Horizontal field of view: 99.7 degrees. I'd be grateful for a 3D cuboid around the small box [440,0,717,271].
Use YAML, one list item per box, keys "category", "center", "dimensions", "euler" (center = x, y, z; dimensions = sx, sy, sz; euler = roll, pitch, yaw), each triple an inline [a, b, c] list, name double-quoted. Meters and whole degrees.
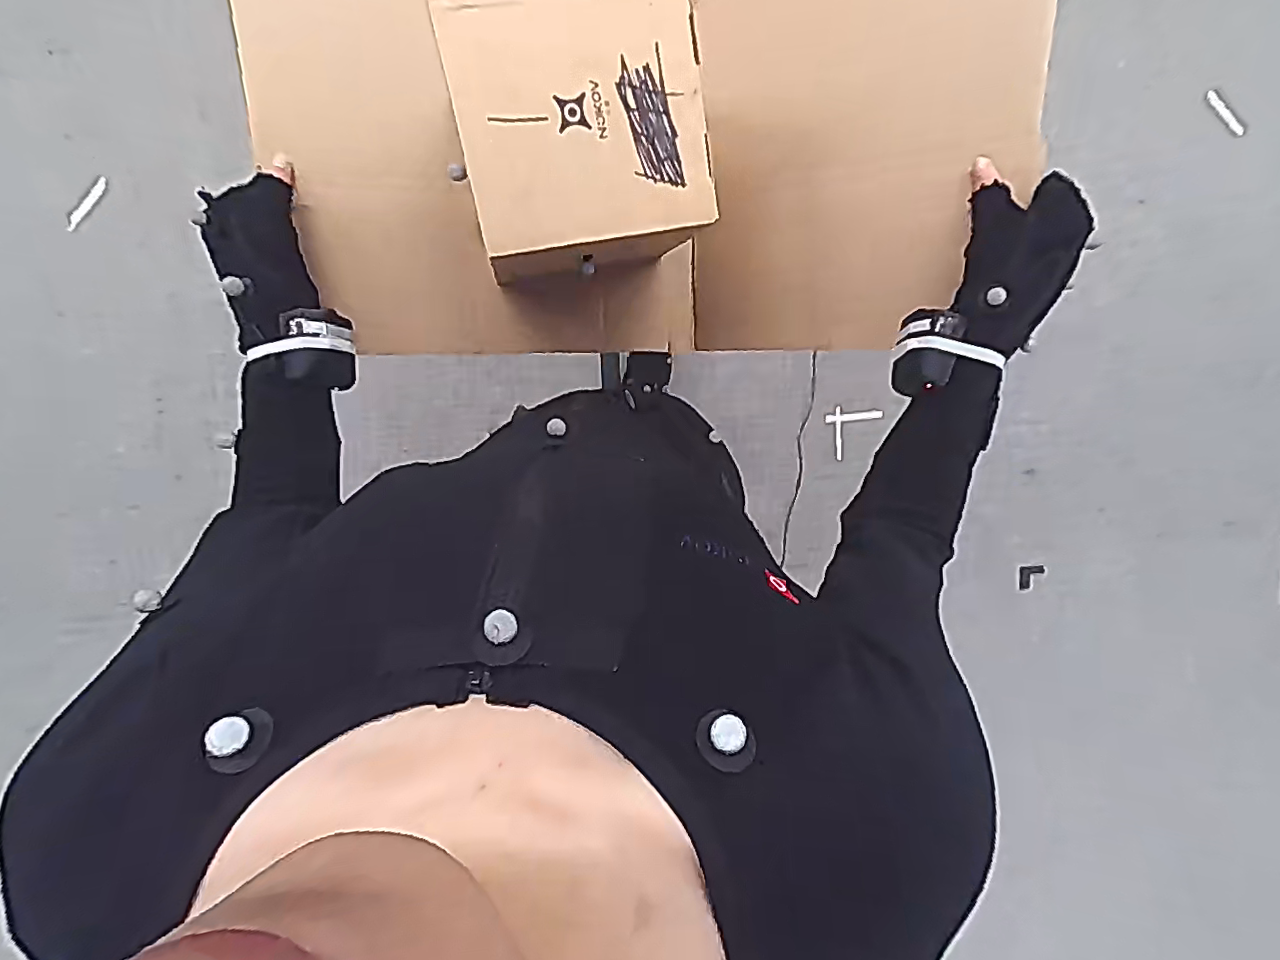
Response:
- category: "small box"
  center: [-0.053, -0.283, 0.458]
  dimensions: [0.179, 0.176, 0.168]
  euler: [-13, 106, -9]
